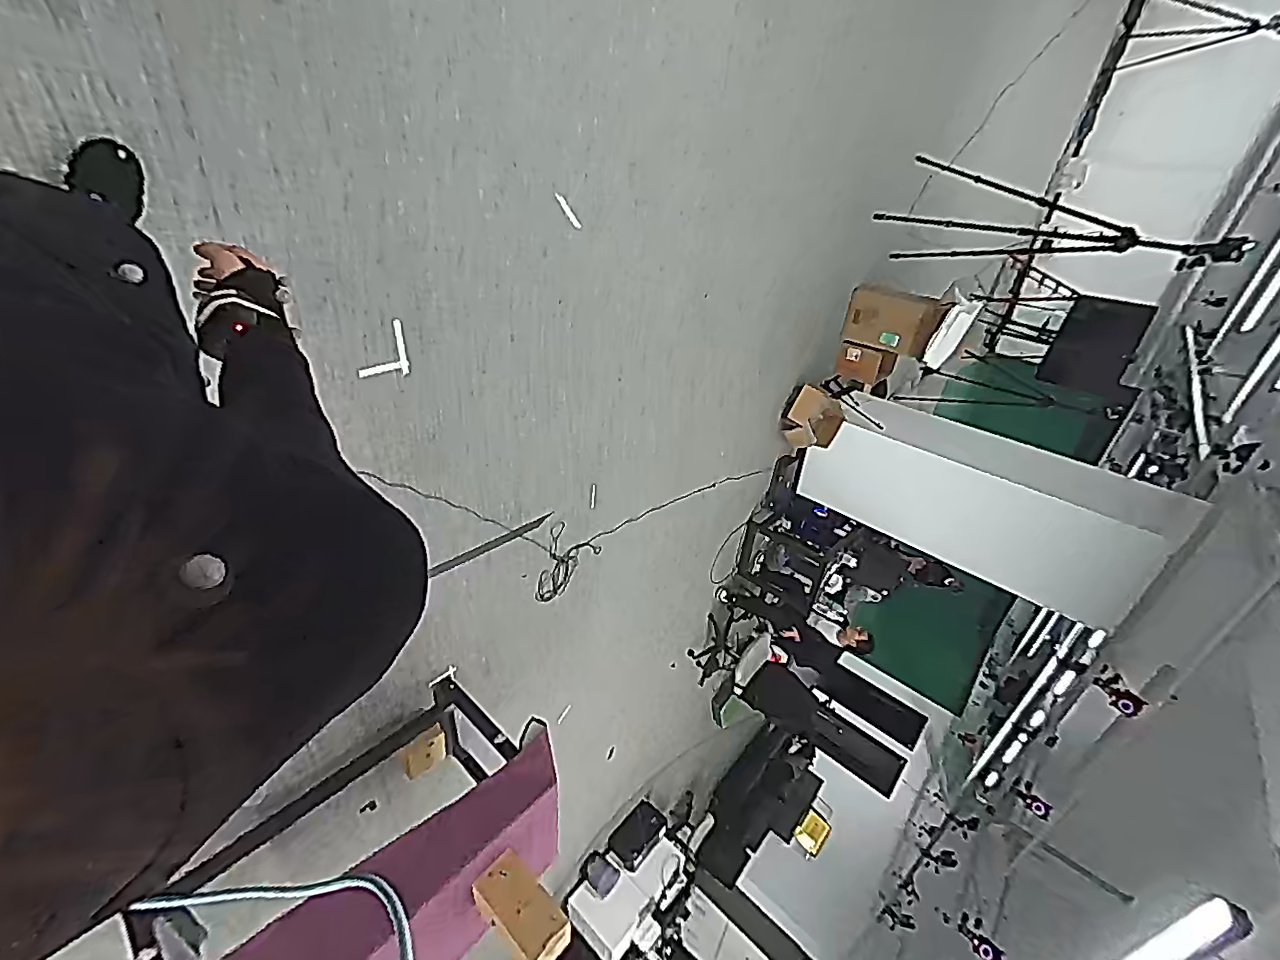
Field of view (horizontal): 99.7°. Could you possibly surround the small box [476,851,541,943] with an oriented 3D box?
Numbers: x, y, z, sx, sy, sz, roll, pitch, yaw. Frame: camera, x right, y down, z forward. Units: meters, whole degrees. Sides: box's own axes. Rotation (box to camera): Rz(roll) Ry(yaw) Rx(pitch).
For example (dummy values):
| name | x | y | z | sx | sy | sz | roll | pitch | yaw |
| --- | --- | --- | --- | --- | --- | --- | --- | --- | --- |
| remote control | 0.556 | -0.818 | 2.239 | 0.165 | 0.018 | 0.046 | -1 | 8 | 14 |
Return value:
| name | x | y | z | sx | sy | sz | roll | pitch | yaw |
| --- | --- | --- | --- | --- | --- | --- | --- | --- | --- |
| small box | -0.475 | 1.498 | 1.953 | 0.168 | 0.176 | 0.179 | -28 | 133 | -42 |
